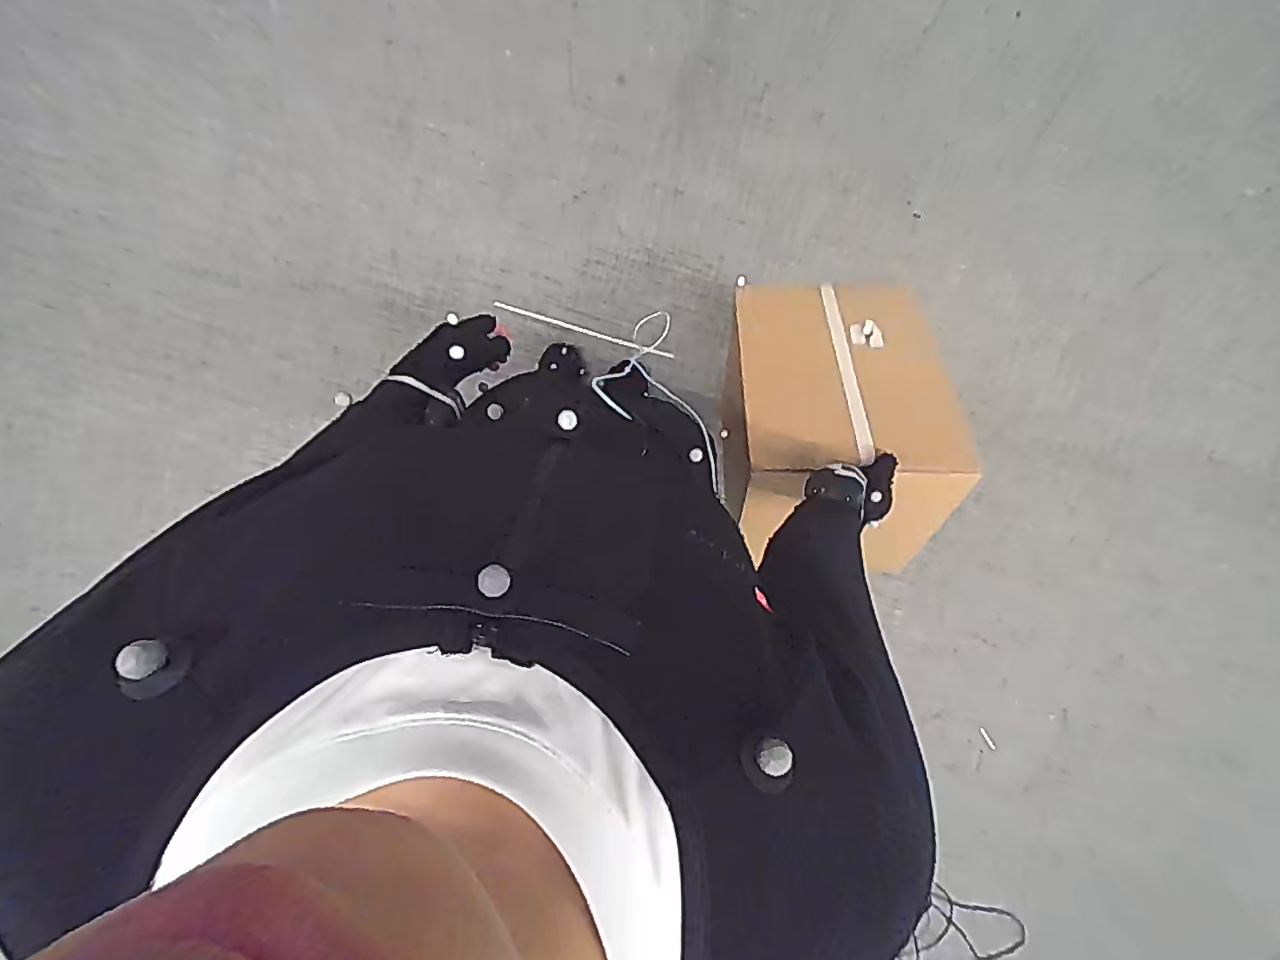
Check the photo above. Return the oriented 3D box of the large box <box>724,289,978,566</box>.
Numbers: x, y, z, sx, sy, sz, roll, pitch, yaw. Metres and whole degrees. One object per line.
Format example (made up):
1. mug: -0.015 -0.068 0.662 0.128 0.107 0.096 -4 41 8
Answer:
1. large box: 0.324 -0.087 0.974 0.320 0.408 0.320 1 146 3
